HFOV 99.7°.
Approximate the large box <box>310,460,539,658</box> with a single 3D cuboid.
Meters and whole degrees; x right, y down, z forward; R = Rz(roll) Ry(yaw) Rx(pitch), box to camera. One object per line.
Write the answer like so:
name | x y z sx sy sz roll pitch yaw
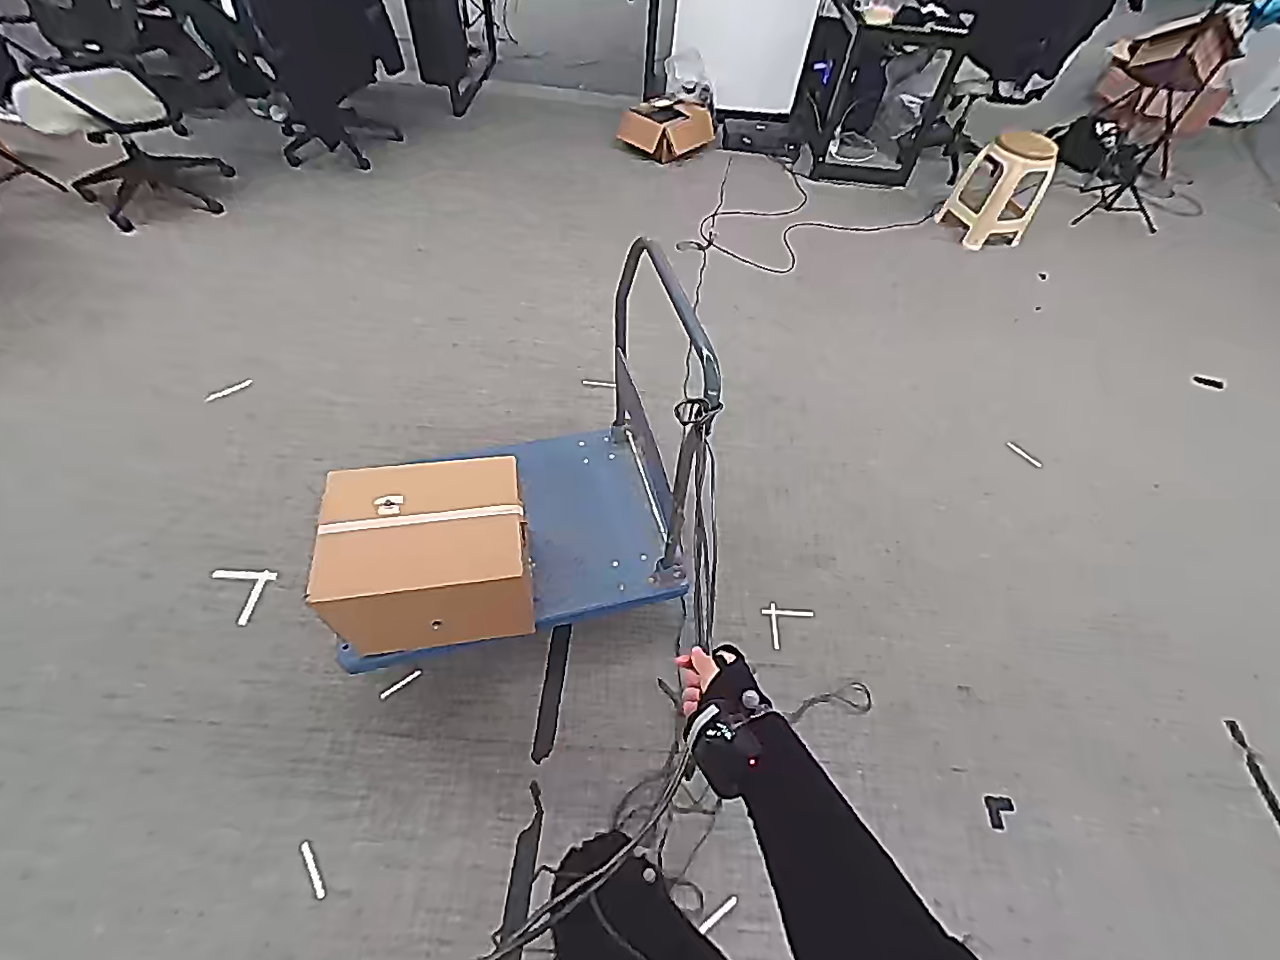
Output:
large box | -0.457 0.184 1.242 0.408 0.320 0.320 -6 54 -9
